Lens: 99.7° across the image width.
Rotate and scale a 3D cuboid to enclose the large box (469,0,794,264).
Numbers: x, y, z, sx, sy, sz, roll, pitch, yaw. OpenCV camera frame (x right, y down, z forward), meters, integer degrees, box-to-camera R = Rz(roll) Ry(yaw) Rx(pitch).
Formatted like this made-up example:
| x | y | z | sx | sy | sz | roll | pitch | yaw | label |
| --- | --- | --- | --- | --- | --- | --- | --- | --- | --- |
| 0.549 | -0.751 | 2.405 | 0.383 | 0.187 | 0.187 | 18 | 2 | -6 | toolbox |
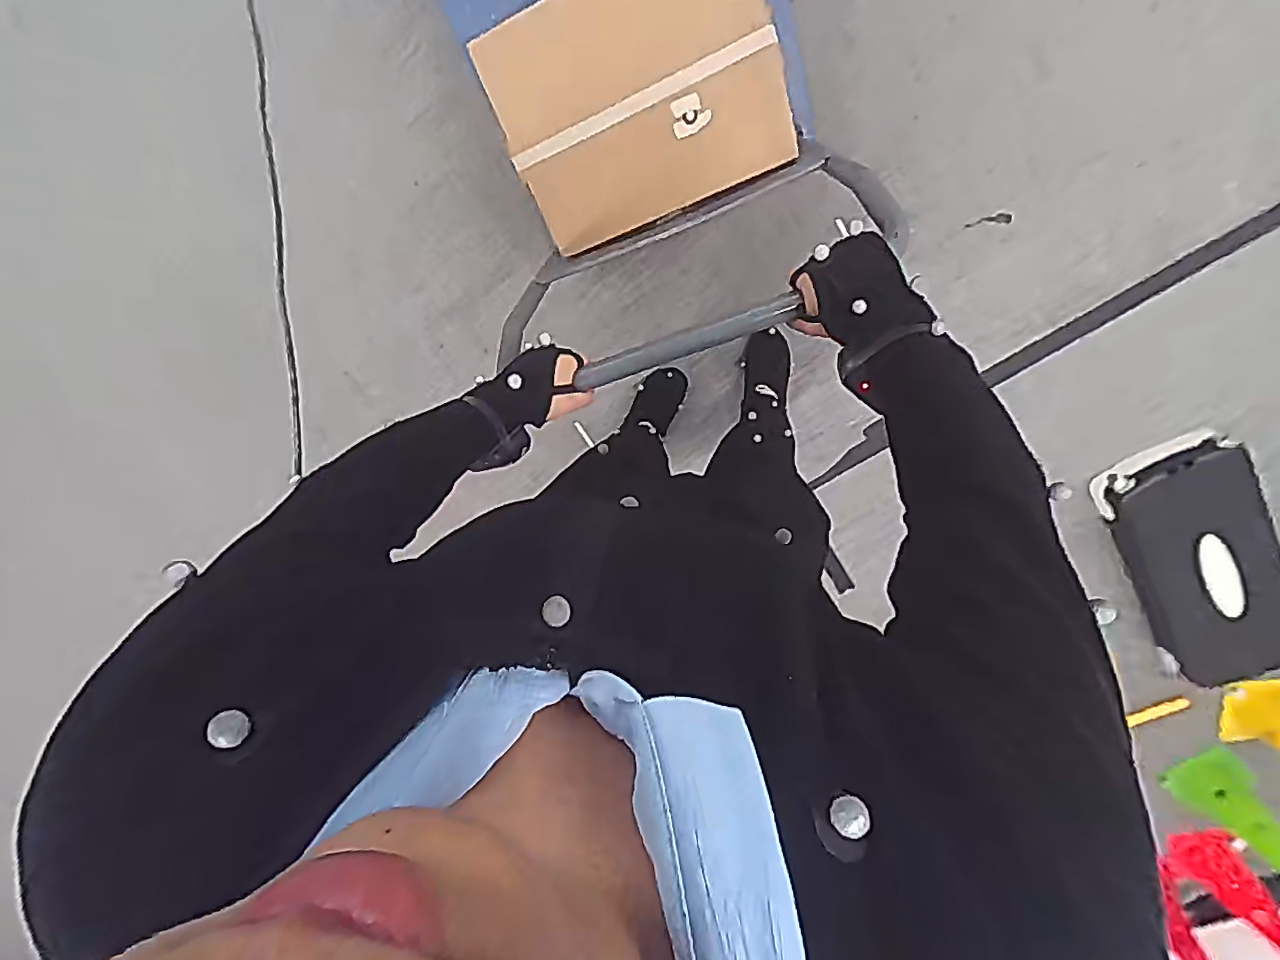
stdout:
| x | y | z | sx | sy | sz | roll | pitch | yaw | label |
| --- | --- | --- | --- | --- | --- | --- | --- | --- | --- |
| 0.001 | -0.620 | 0.914 | 0.408 | 0.320 | 0.320 | -18 | 120 | 15 | large box |
